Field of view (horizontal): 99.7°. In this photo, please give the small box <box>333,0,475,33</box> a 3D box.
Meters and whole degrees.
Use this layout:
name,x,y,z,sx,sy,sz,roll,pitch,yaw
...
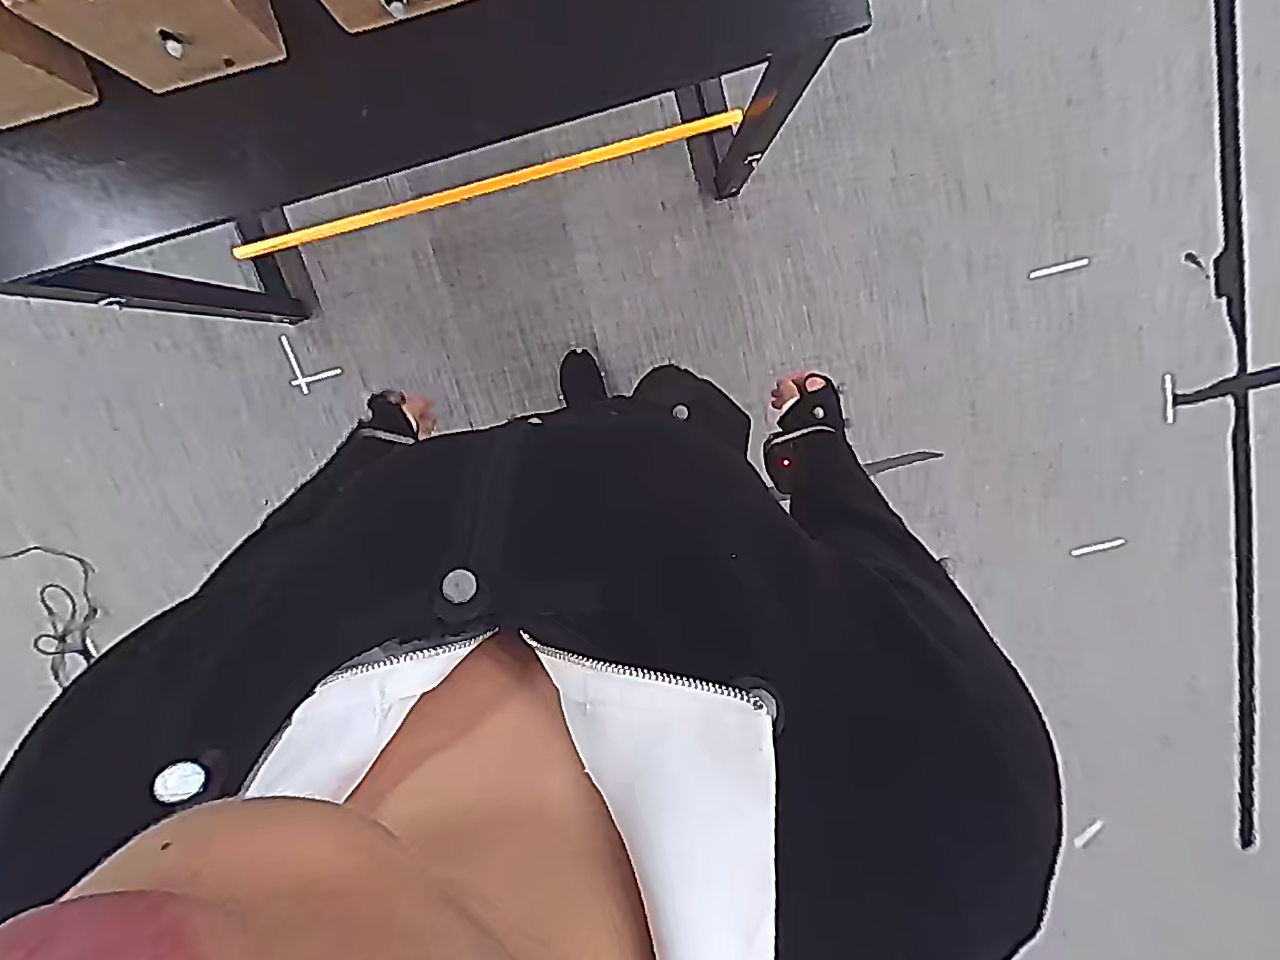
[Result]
name,x,y,z,sx,sy,sz,roll,pitch,yaw
small box,-0.276,-0.603,0.533,0.168,0.176,0.179,-15,103,3

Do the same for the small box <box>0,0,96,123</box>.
name,x,y,z,sx,sy,sz,roll,pitch,yaw
small box,-0.733,-0.490,0.543,0.179,0.176,0.168,-15,103,1

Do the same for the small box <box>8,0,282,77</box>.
name,x,y,z,sx,sy,sz,roll,pitch,yaw
small box,-0.506,-0.542,0.539,0.168,0.176,0.179,-13,103,2
